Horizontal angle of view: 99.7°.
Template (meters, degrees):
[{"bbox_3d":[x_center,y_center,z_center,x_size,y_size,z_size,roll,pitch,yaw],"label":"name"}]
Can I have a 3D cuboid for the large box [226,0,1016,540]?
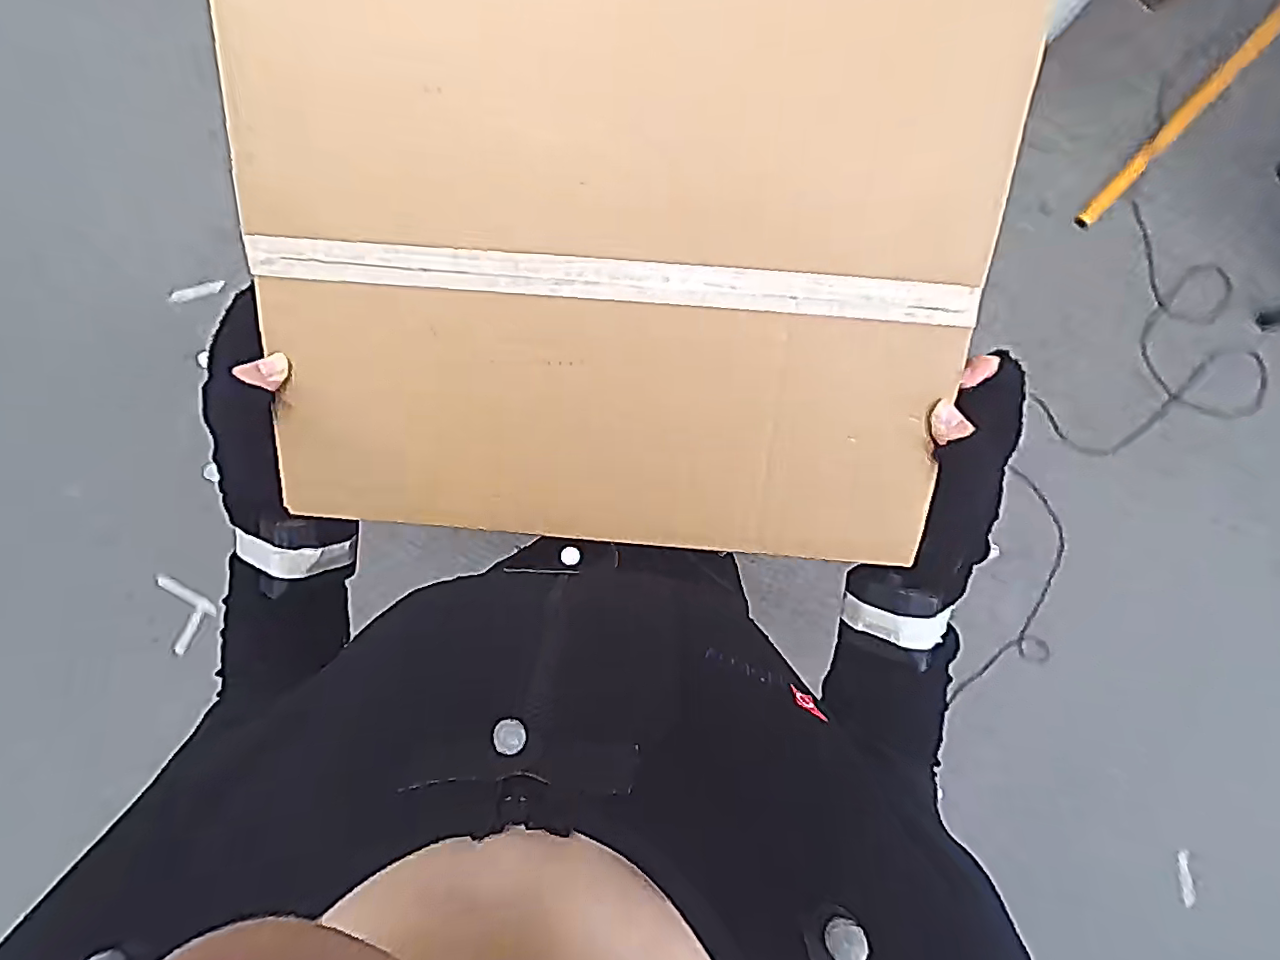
[{"bbox_3d":[-0.016,-0.160,0.452,0.408,0.320,0.320,4,109,1],"label":"large box"}]
